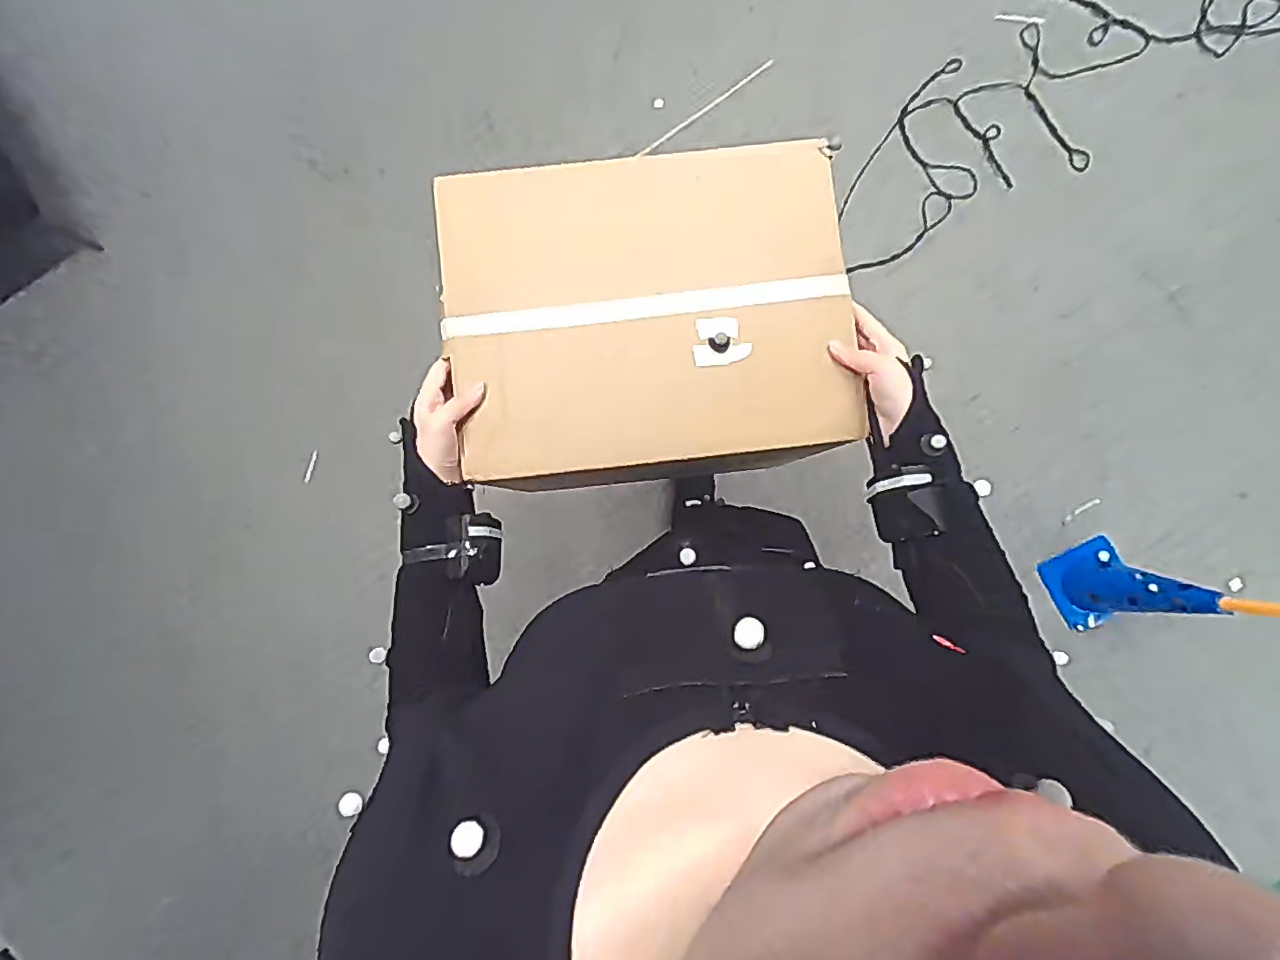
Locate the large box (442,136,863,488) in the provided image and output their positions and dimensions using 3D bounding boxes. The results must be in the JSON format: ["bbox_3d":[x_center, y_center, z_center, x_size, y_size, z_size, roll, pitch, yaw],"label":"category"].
[{"bbox_3d":[0.006,-0.174,0.696,0.408,0.320,0.320,-7,87,-2],"label":"large box"}]

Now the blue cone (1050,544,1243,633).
[{"bbox_3d":[1.169,0.265,1.240,0.193,0.380,0.192,-26,85,2],"label":"blue cone"}]
